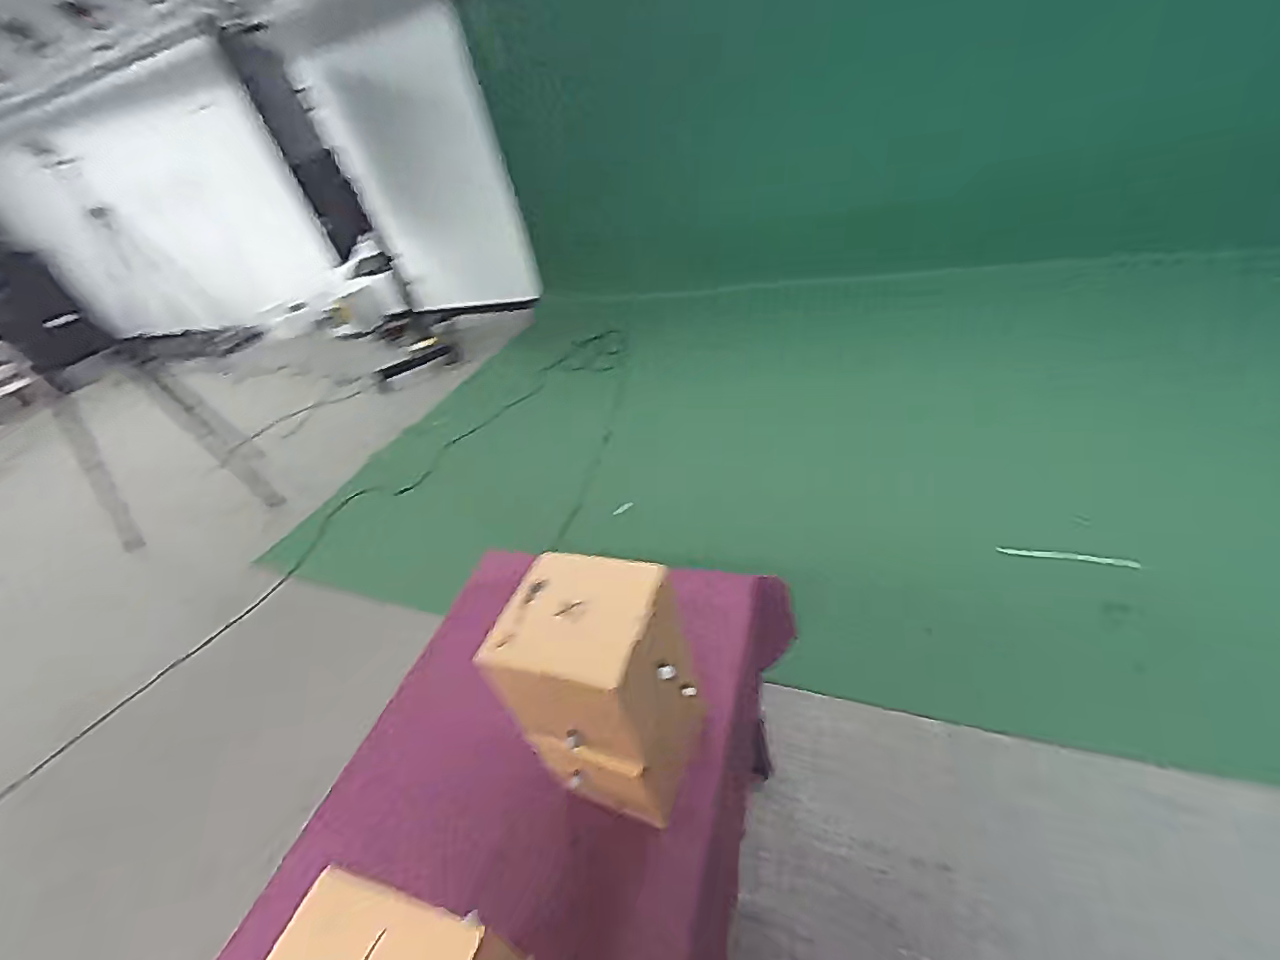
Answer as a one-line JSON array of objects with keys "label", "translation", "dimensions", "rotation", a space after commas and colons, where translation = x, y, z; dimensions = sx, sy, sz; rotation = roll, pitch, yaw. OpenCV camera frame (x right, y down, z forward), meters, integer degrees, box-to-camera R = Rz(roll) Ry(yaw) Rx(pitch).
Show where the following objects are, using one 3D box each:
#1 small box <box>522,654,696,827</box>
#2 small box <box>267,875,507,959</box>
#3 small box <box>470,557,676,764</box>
[{"label": "small box", "translation": [-0.030, 0.348, 0.762], "dimensions": [0.168, 0.176, 0.179], "rotation": [6, 42, 26]}, {"label": "small box", "translation": [-0.202, 0.452, 0.415], "dimensions": [0.168, 0.176, 0.179], "rotation": [1, 39, 21]}, {"label": "small box", "translation": [-0.066, 0.220, 0.666], "dimensions": [0.179, 0.176, 0.168], "rotation": [3, 40, 23]}]
